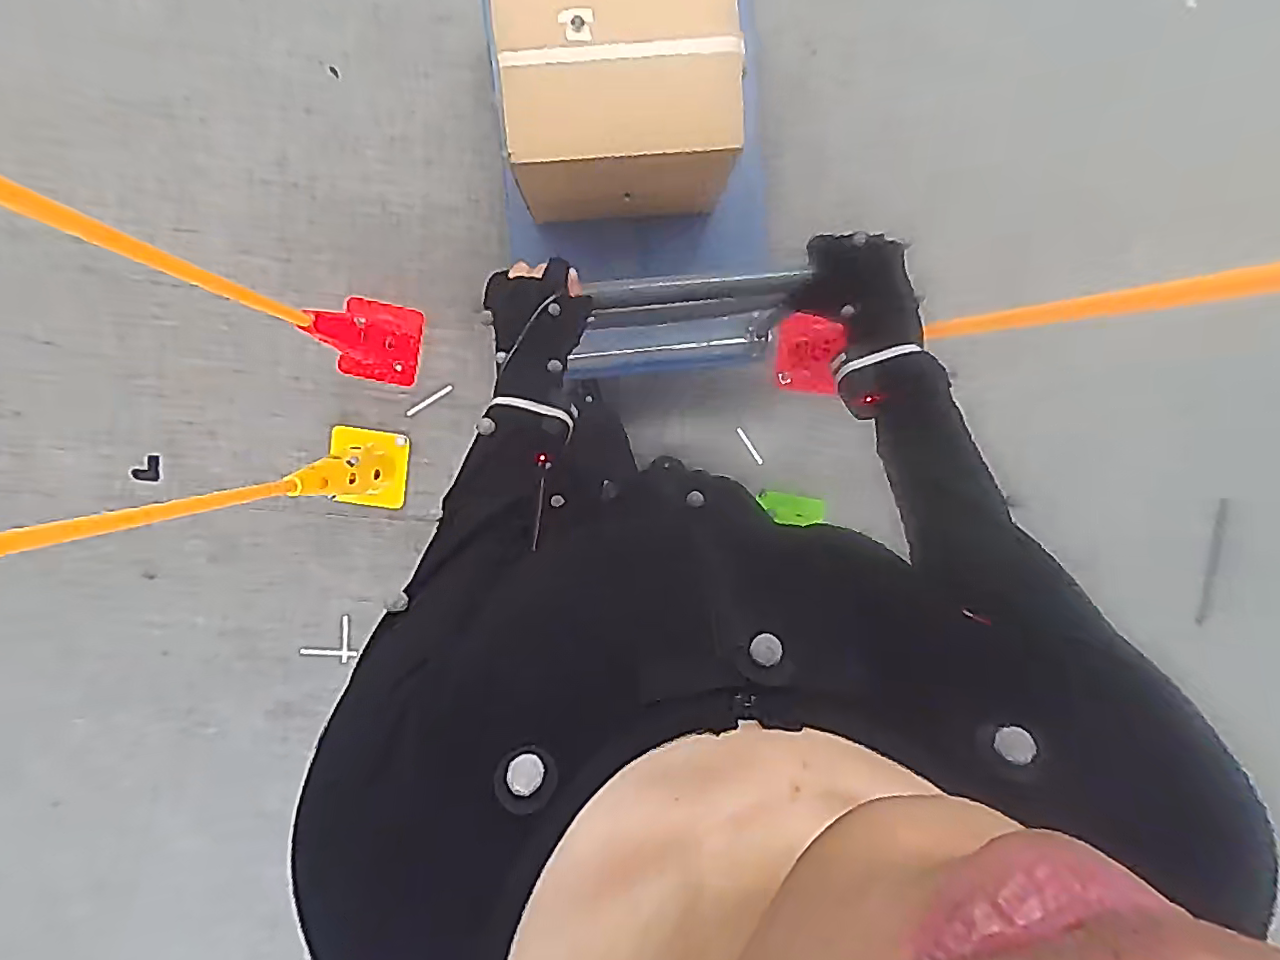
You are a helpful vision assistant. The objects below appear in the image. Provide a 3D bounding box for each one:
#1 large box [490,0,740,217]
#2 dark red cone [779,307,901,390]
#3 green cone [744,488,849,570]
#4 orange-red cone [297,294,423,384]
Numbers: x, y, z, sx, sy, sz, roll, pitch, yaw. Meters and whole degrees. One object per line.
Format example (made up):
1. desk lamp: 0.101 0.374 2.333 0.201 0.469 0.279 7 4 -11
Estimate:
1. large box: -0.042 -0.728 1.045 0.408 0.320 0.320 -5 98 -1
2. dark red cone: 0.478 -0.322 1.249 0.201 0.394 0.202 5 97 -5
3. green cone: 0.409 0.153 1.325 0.202 0.368 0.200 9 97 -5
4. orange-red cone: -0.656 -0.340 1.213 0.198 0.360 0.199 13 95 -5
